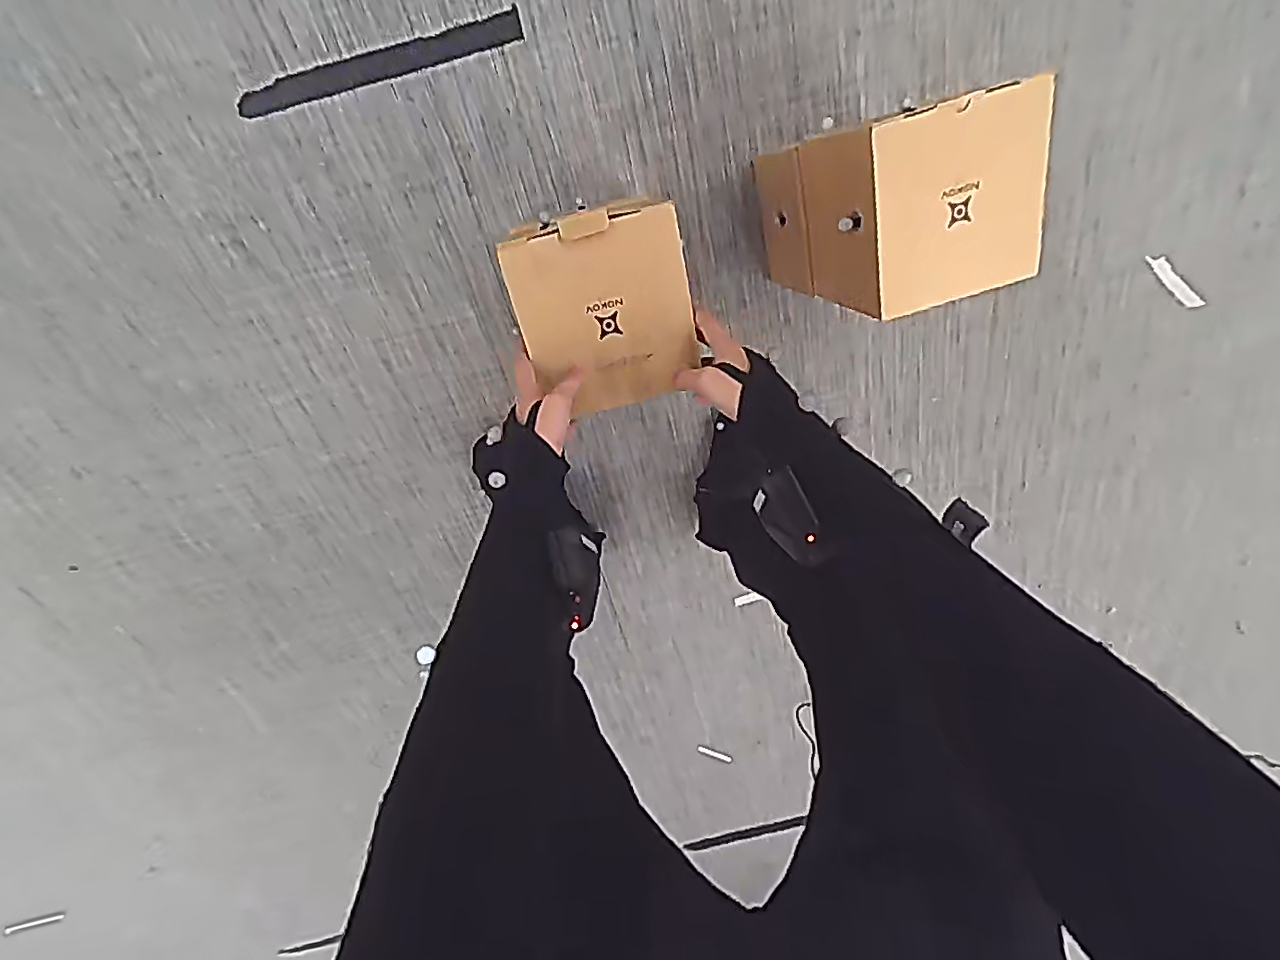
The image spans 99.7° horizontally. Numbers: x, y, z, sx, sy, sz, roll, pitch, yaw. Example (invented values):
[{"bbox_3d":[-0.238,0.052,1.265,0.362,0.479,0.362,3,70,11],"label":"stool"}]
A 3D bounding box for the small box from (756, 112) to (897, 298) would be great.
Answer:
[{"bbox_3d":[0.266,-0.360,0.710,0.168,0.176,0.179,-17,117,1],"label":"small box"}]

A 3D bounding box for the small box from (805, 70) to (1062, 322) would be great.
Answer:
[{"bbox_3d":[0.289,-0.287,0.566,0.168,0.176,0.179,-17,117,1],"label":"small box"}]

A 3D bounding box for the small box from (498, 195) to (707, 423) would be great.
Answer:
[{"bbox_3d":[-0.038,-0.185,0.571,0.168,0.176,0.179,-14,118,0],"label":"small box"}]

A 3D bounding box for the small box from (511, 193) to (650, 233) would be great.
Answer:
[{"bbox_3d":[-0.061,-0.264,0.713,0.168,0.176,0.179,-14,118,0],"label":"small box"}]
